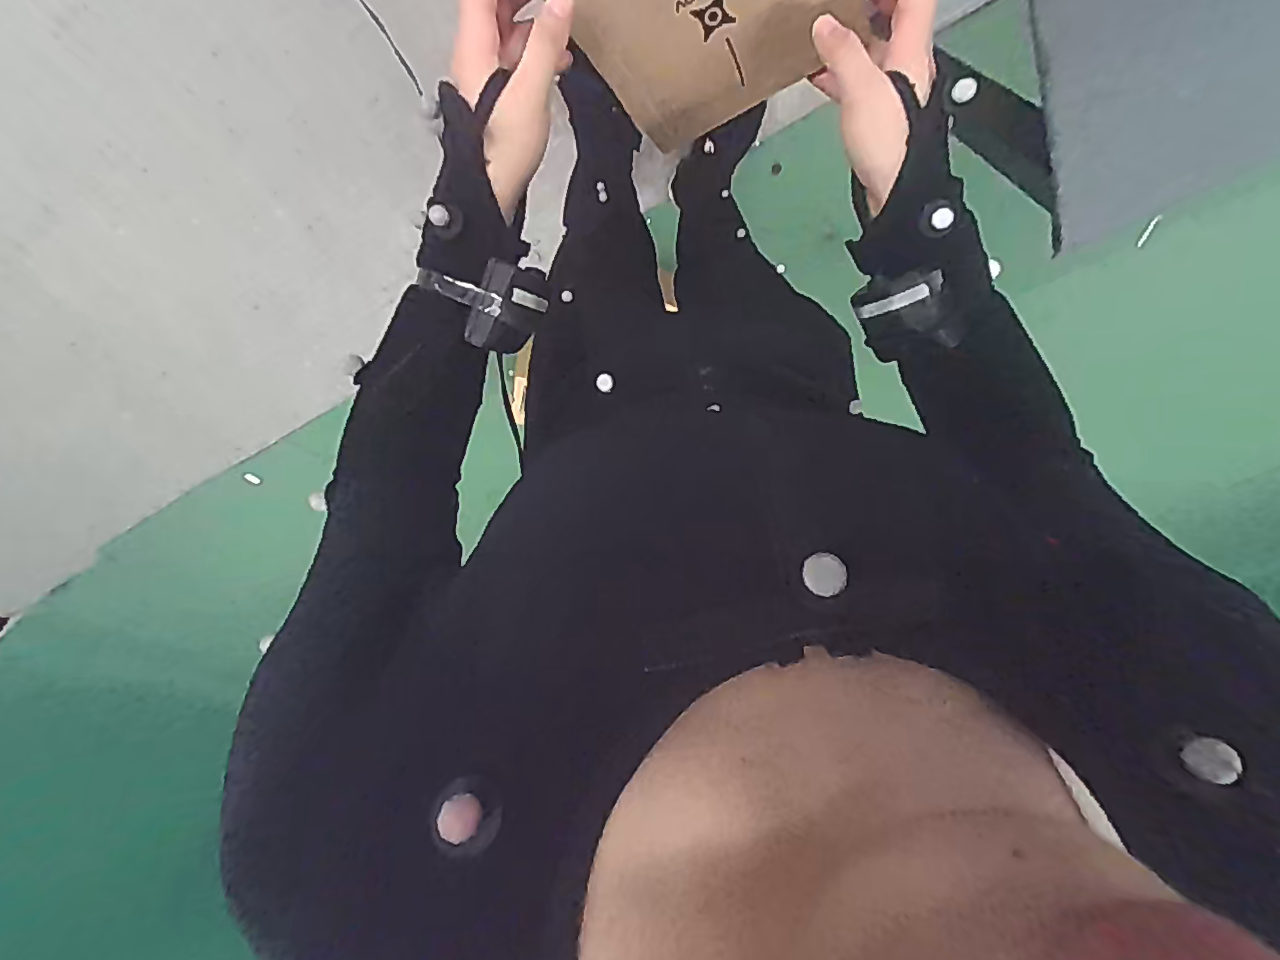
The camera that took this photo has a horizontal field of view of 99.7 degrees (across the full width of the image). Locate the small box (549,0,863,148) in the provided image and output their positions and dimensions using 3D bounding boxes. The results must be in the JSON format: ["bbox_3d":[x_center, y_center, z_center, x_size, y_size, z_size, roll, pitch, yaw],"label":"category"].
[{"bbox_3d":[0.033,-0.381,0.355,0.168,0.176,0.179,-12,164,30],"label":"small box"}]
